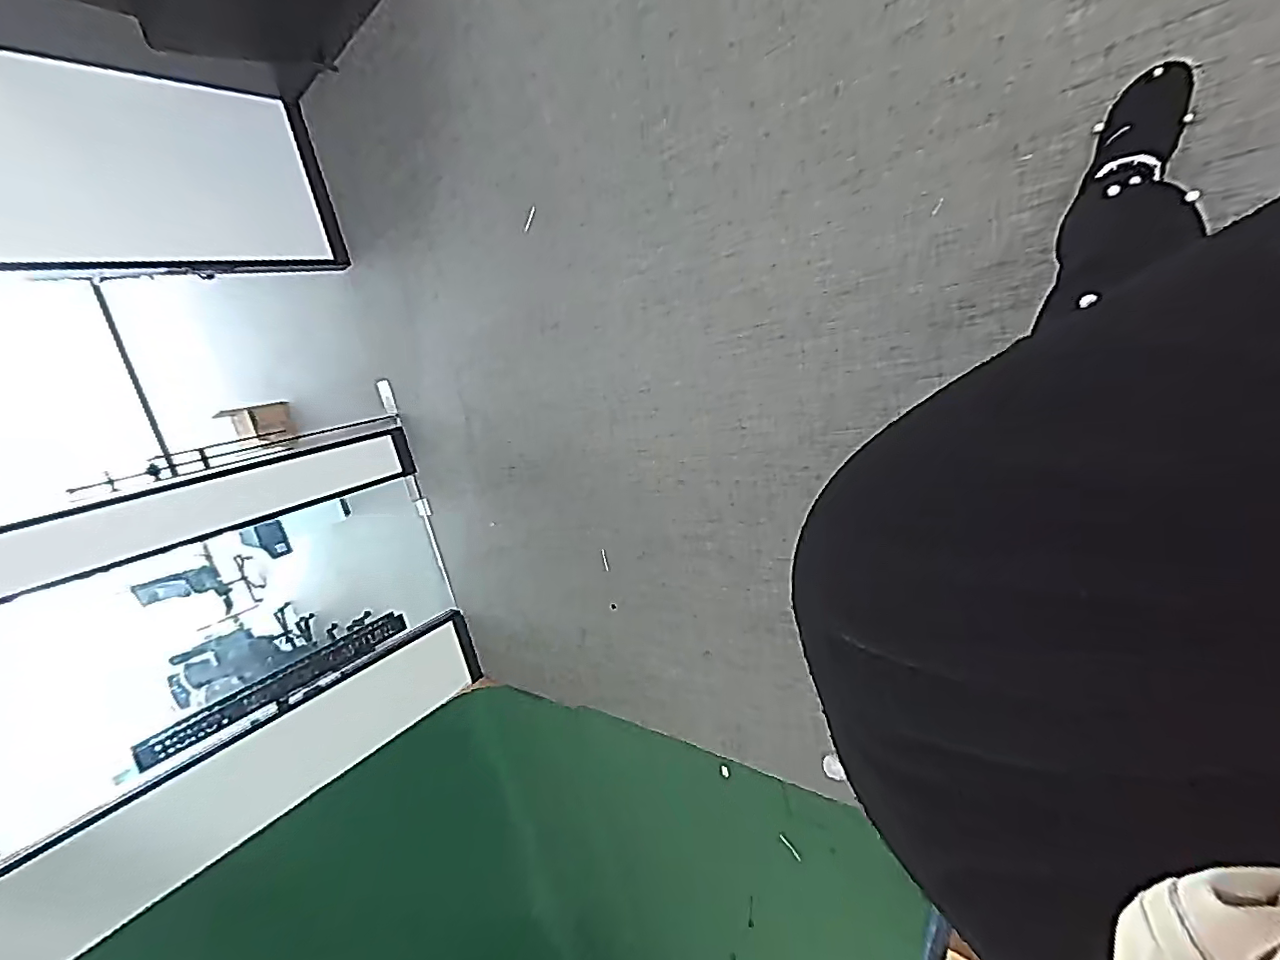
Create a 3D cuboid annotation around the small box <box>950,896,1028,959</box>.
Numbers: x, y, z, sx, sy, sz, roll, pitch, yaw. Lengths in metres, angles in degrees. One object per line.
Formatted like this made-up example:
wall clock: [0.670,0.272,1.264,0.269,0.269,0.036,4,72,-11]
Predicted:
small box: [0.959,1.310,1.484,0.168,0.176,0.179,9,112,37]
